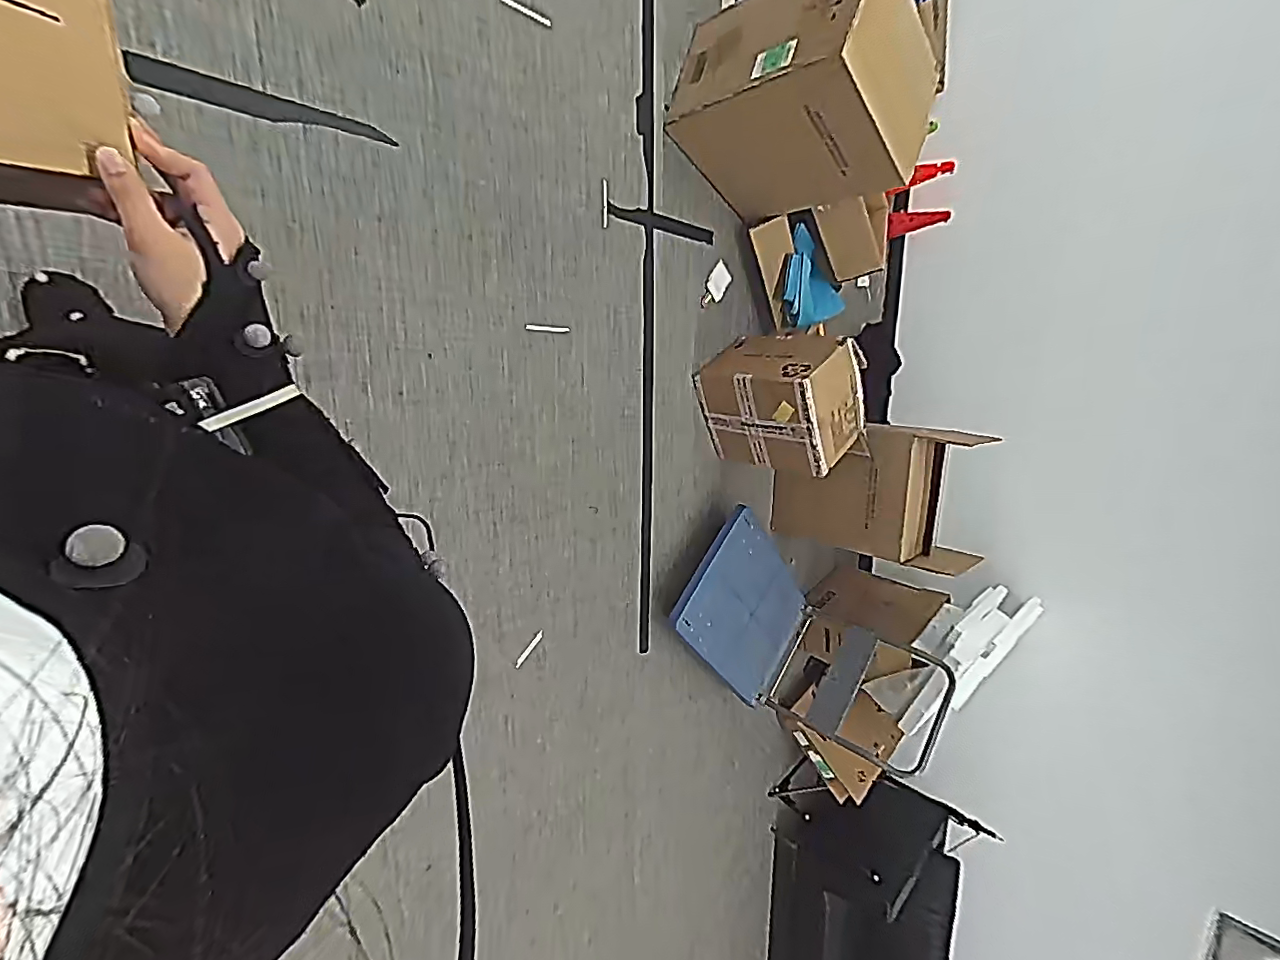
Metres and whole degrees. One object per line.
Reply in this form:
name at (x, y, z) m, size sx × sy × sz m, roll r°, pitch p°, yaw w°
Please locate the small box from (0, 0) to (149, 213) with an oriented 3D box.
small box at (-0.422, -0.269, 0.320) m, size 0.179 × 0.176 × 0.168 m, roll -10°, pitch 109°, yaw -40°
